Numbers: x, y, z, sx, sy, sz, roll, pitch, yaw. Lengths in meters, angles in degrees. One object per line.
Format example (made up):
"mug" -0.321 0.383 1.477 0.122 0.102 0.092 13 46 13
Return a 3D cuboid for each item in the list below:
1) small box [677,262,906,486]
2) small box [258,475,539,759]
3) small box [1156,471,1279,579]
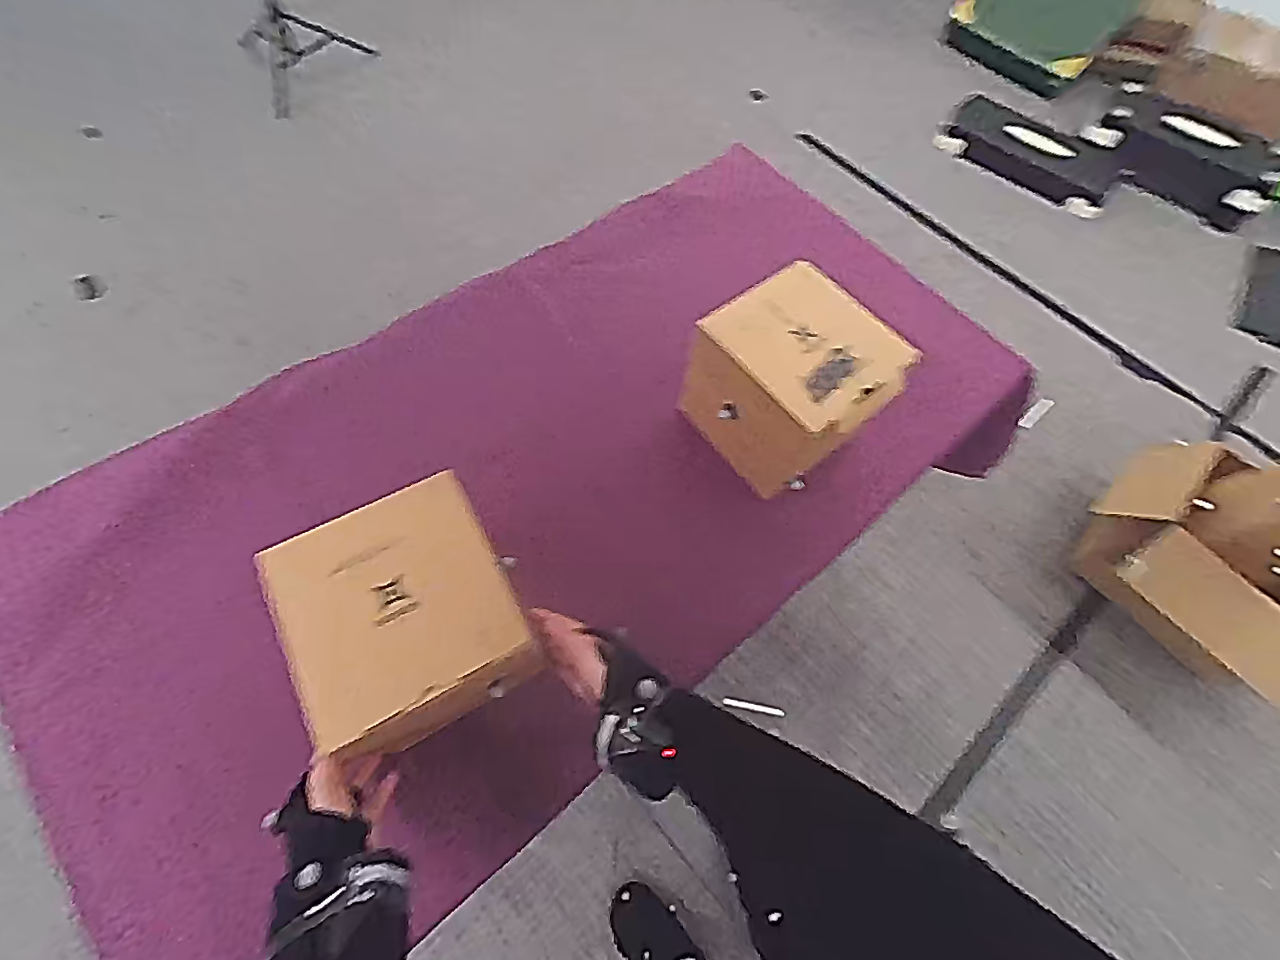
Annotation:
"small box" 0.164 -0.113 0.646 0.168 0.176 0.179 -35 71 -18
"small box" -0.206 0.130 0.507 0.168 0.176 0.179 -26 70 -16
"small box" 1.348 0.111 1.238 0.179 0.176 0.168 27 70 5
